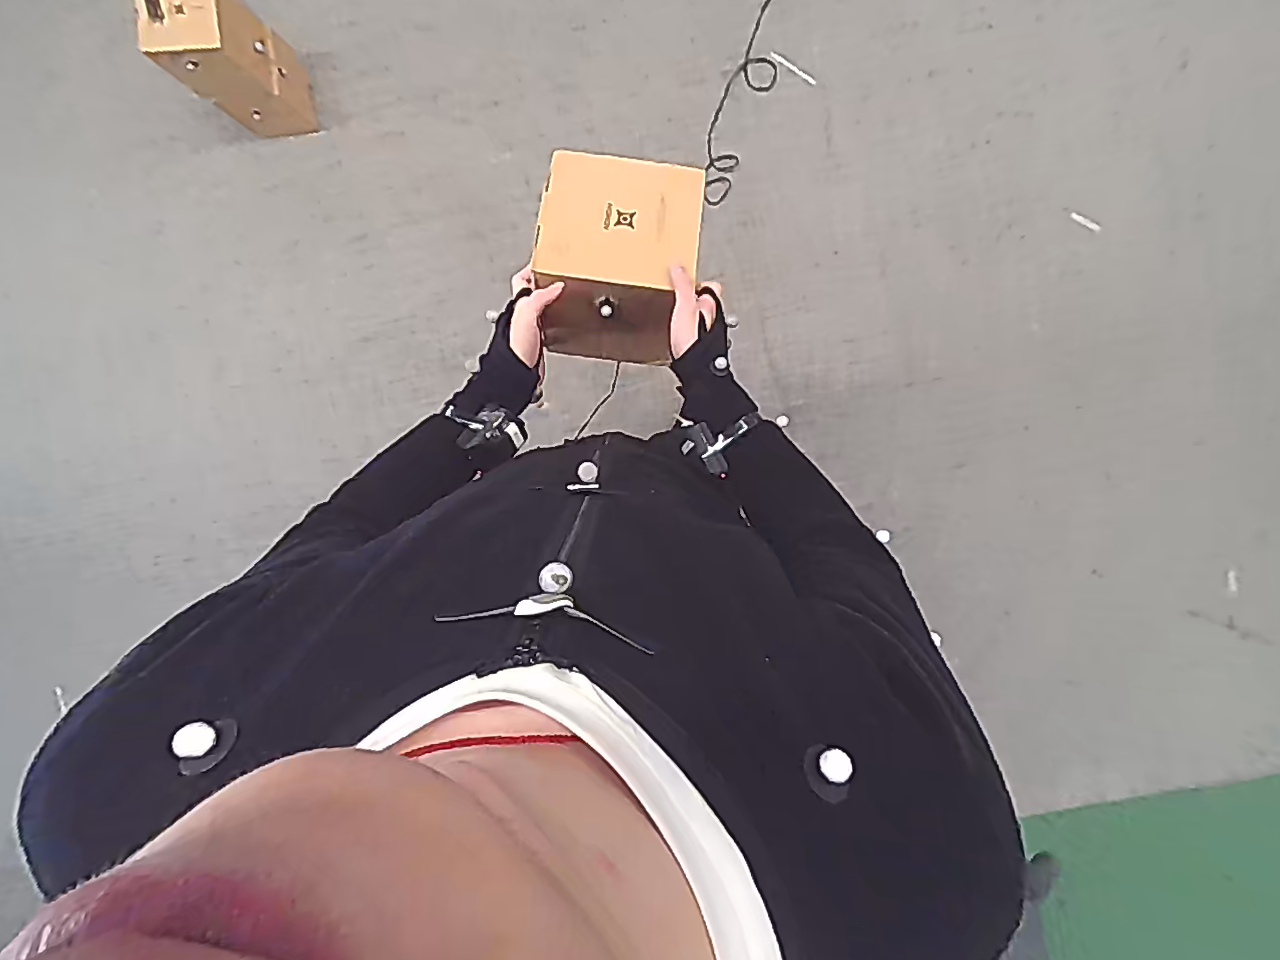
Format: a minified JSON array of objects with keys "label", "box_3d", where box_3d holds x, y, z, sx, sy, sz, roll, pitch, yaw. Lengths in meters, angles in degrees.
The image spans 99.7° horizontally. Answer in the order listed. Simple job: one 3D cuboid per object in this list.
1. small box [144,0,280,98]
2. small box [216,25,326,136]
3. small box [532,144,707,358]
[{"label":"small box","box_3d":[-0.963,-1.003,1.226,0.179,0.176,0.168,-3,95,1]},{"label":"small box","box_3d":[-0.949,-1.015,1.390,0.179,0.176,0.168,-4,94,2]},{"label":"small box","box_3d":[-0.024,-0.266,0.660,0.179,0.176,0.168,7,73,-3]}]
